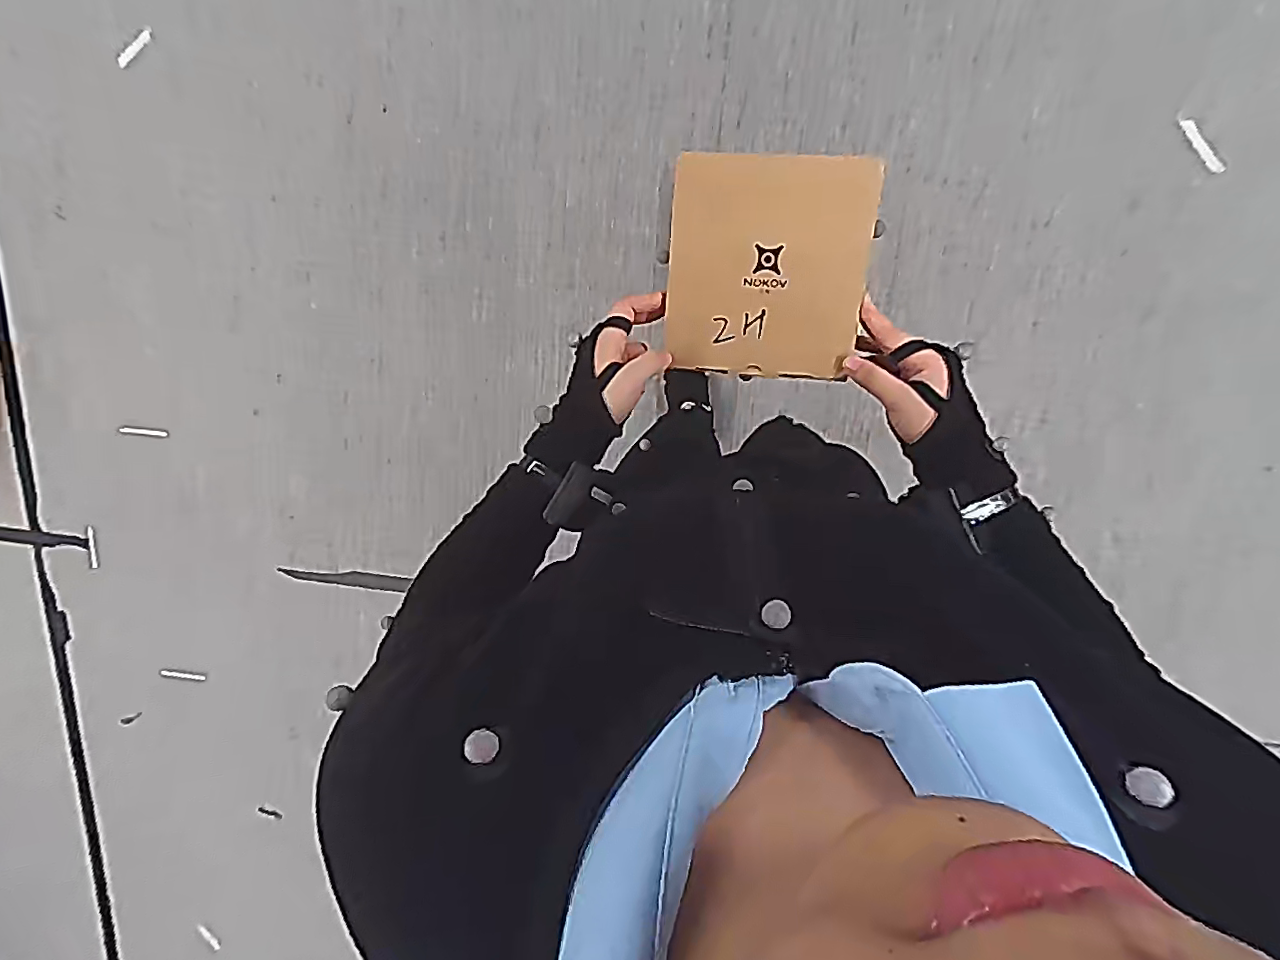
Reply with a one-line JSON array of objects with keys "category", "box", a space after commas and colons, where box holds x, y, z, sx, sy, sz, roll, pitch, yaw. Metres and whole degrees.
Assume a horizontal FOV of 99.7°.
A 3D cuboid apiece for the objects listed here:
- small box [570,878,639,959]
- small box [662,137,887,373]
[{"category": "small box", "box": [-0.093, 1.250, 1.486, 0.168, 0.176, 0.179, 4, 102, 5]}, {"category": "small box", "box": [0.116, -0.205, 0.523, 0.168, 0.176, 0.179, 6, 108, 7]}]
